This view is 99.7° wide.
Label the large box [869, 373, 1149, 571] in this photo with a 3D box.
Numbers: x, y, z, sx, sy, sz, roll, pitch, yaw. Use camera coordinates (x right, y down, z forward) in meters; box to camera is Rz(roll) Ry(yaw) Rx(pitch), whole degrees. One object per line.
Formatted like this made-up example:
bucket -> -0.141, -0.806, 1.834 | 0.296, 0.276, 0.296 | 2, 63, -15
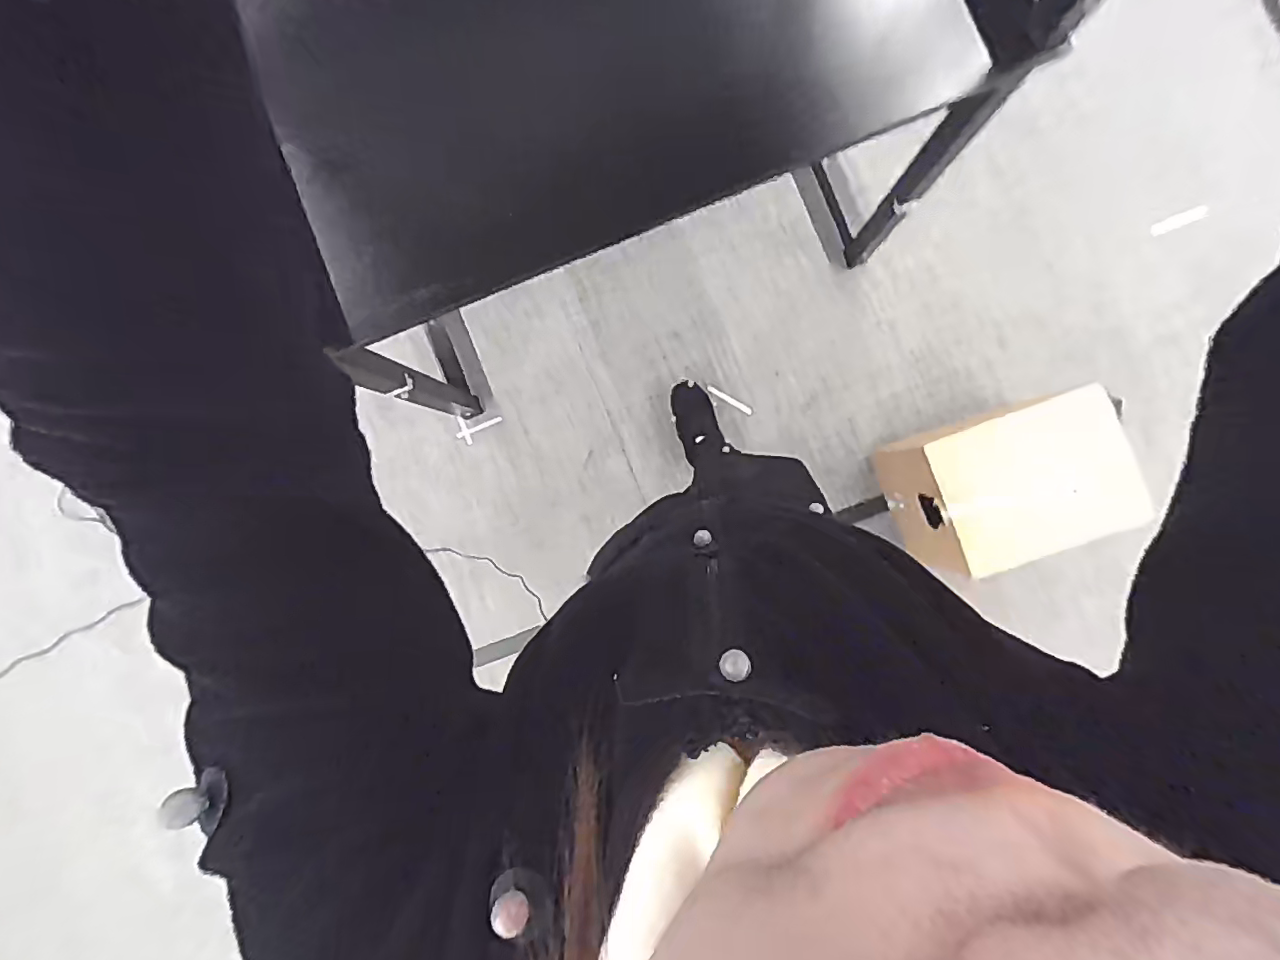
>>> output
large box -> 0.845, -0.013, 1.301 | 0.408, 0.320, 0.320 | -21, 90, 2
